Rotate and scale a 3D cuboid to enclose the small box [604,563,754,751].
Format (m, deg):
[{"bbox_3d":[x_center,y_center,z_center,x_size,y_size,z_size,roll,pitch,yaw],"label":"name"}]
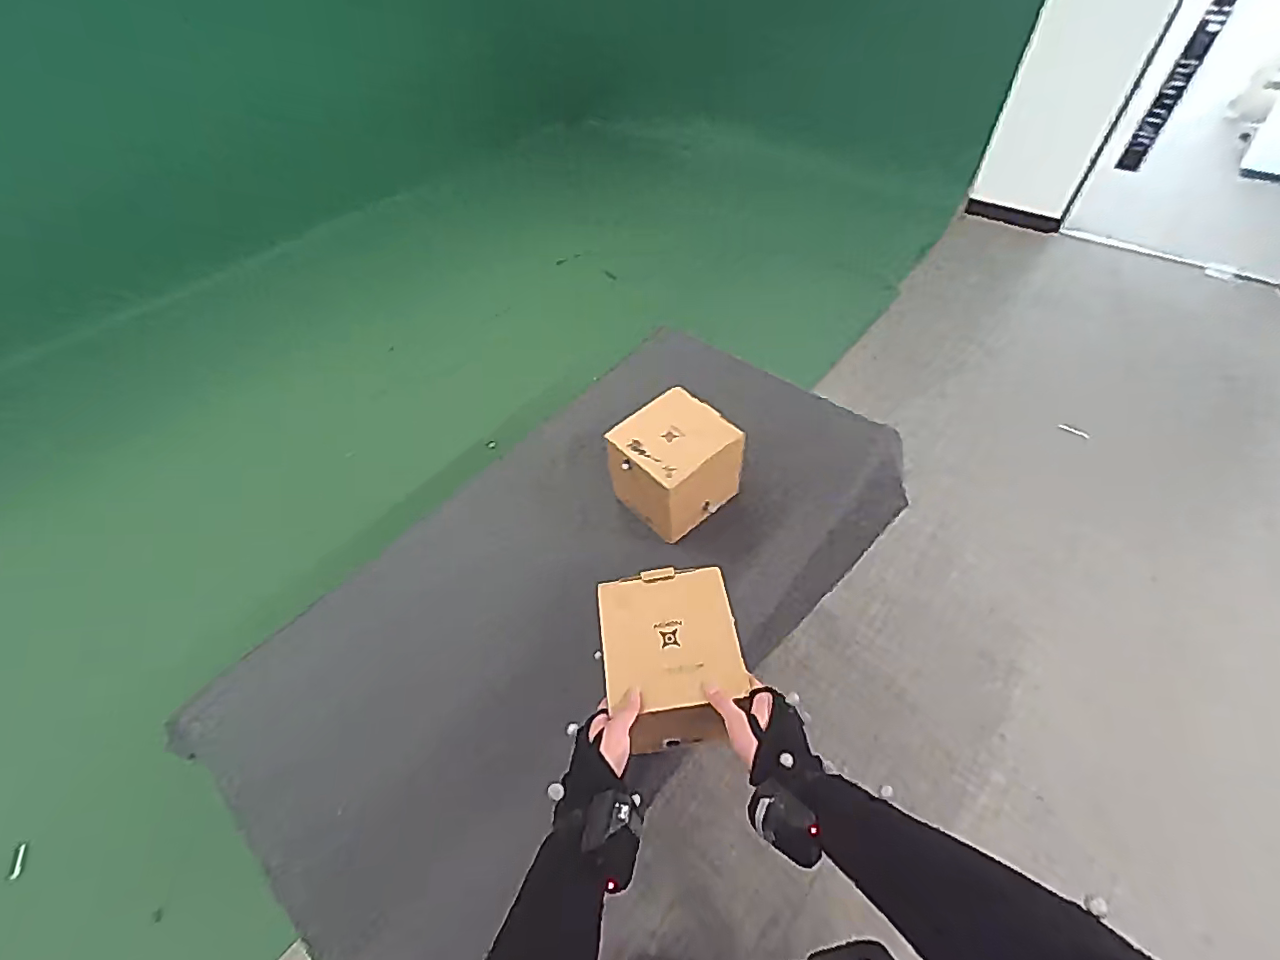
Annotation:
[{"bbox_3d":[0.046,0.233,0.708,0.168,0.176,0.179,-7,49,1],"label":"small box"}]

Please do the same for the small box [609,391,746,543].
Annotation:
[{"bbox_3d":[0.064,-0.023,0.976,0.179,0.176,0.168,-35,58,-22],"label":"small box"}]
